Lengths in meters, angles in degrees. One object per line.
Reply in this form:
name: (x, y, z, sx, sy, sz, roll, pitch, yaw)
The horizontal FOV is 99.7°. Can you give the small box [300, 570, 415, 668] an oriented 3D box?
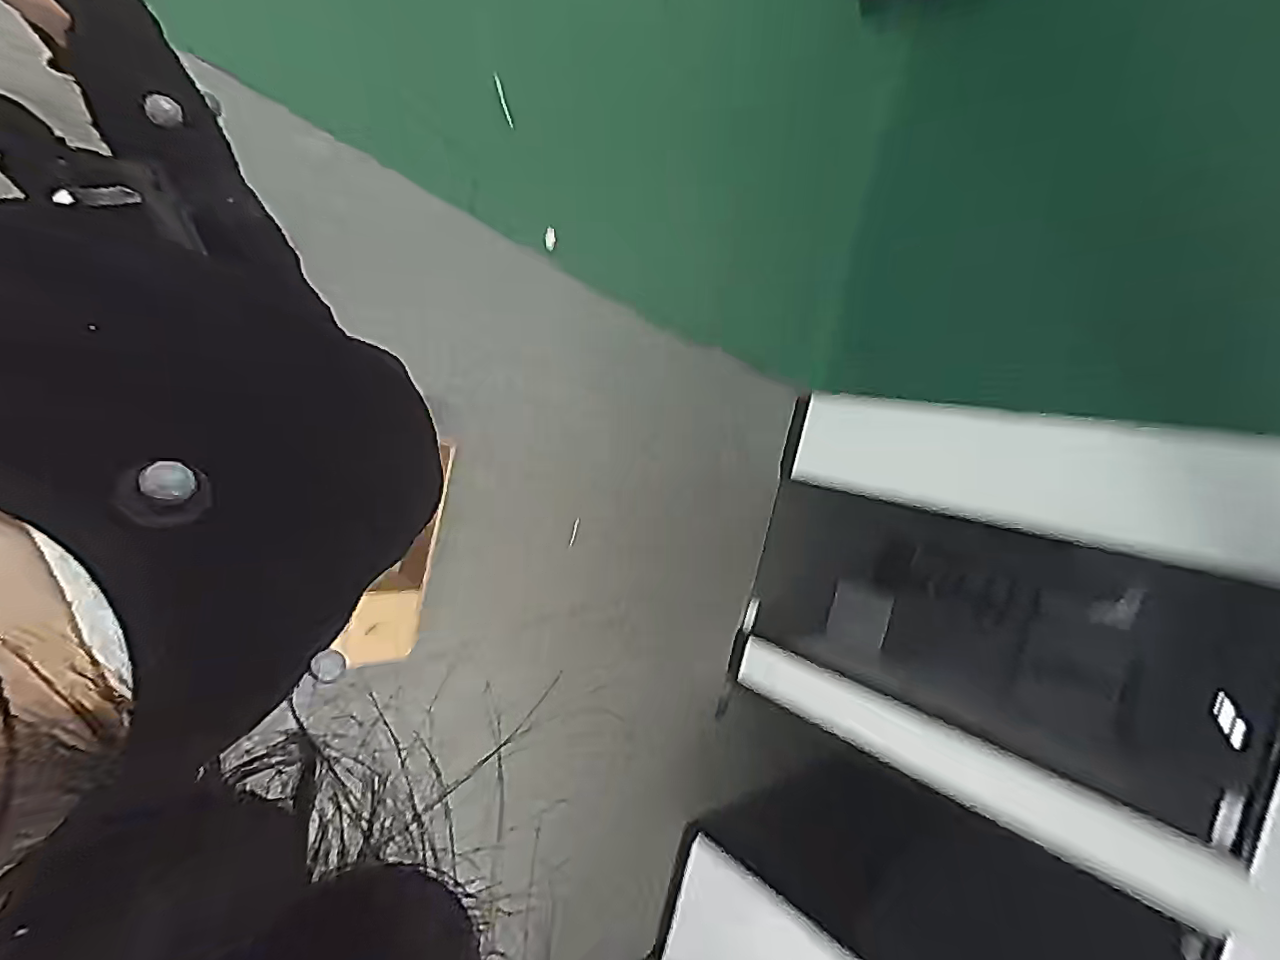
small box: (-0.657, 0.313, 1.258, 0.179, 0.176, 0.168, 10, 94, -47)
